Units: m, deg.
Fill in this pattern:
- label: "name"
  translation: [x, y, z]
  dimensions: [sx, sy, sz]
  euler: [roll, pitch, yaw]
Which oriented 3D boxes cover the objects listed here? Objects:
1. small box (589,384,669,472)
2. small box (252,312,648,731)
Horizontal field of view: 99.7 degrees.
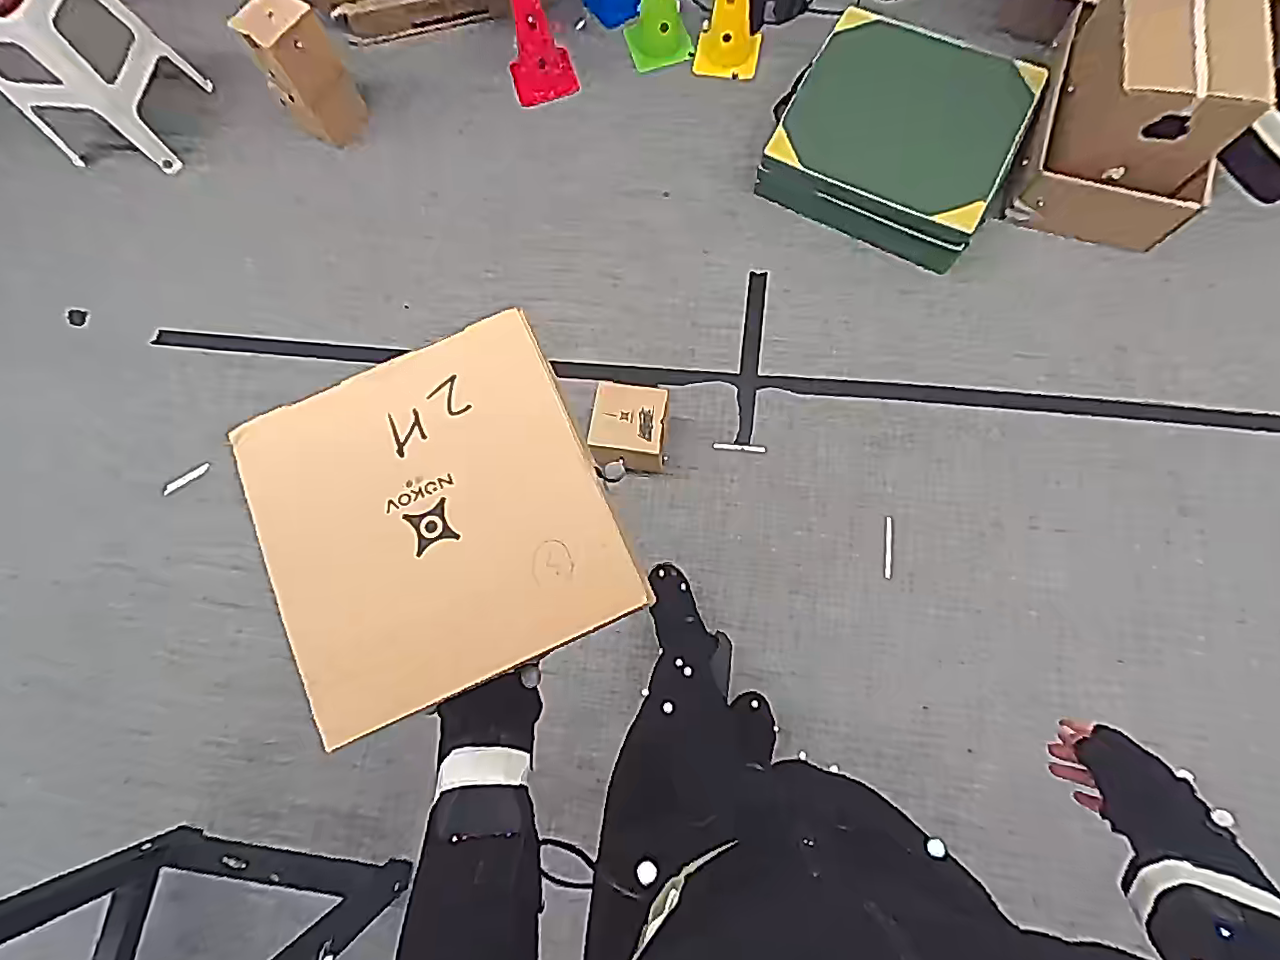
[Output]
- label: "small box"
  translation: [-0.024, -0.125, 1.376]
  dimensions: [0.179, 0.176, 0.168]
  euler: [8, 76, 6]
- label: "small box"
  translation: [-0.100, 0.030, 0.358]
  dimensions: [0.168, 0.176, 0.179]
  euler: [-24, 78, -3]
